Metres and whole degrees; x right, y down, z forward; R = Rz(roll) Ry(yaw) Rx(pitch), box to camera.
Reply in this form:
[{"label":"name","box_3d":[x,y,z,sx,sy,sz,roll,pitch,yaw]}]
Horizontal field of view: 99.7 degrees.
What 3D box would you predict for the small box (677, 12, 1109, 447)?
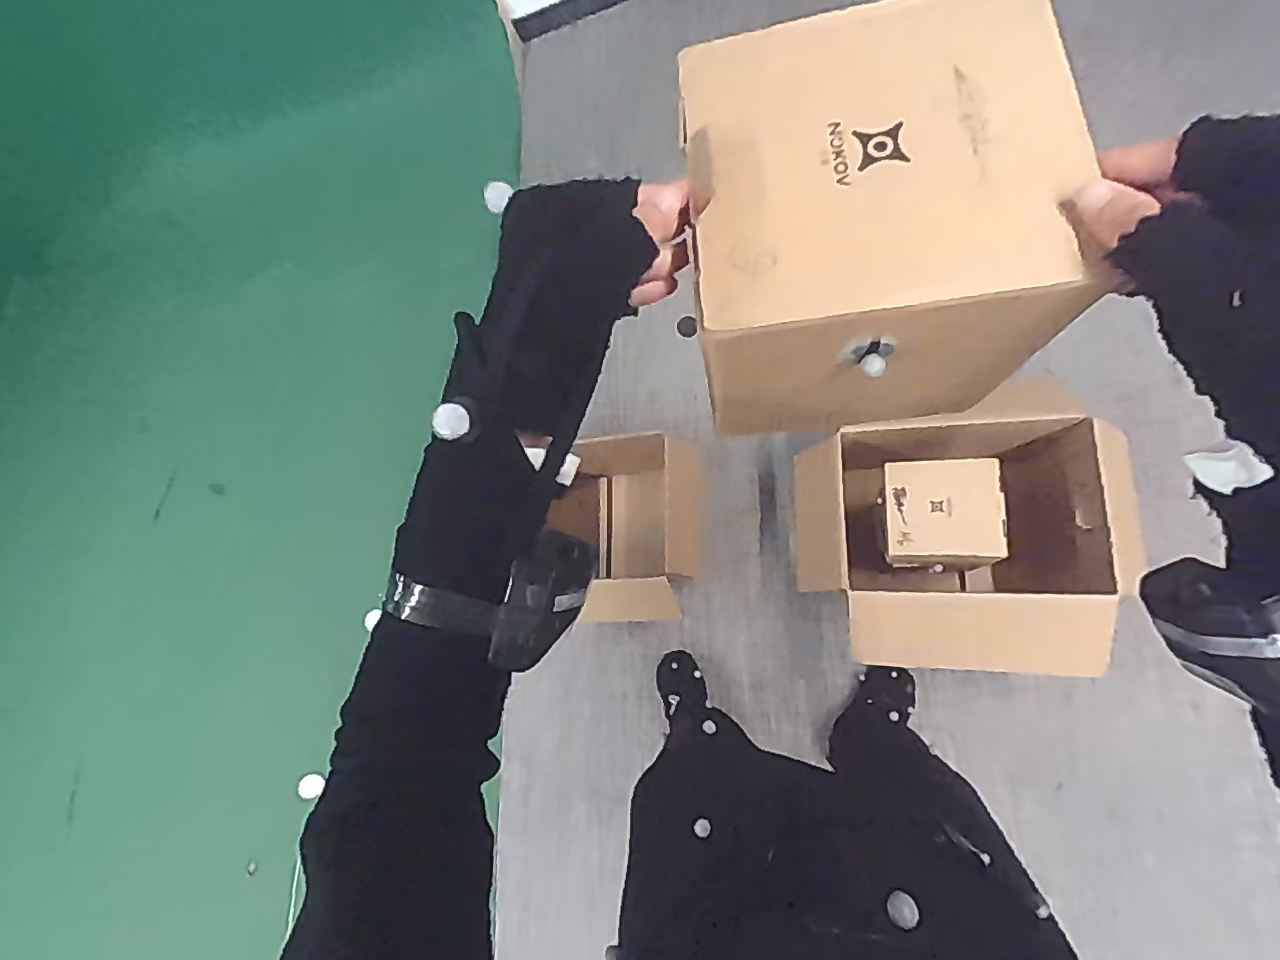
[{"label":"small box","box_3d":[0.125,-0.126,0.339,0.179,0.176,0.168,-7,77,8]}]
